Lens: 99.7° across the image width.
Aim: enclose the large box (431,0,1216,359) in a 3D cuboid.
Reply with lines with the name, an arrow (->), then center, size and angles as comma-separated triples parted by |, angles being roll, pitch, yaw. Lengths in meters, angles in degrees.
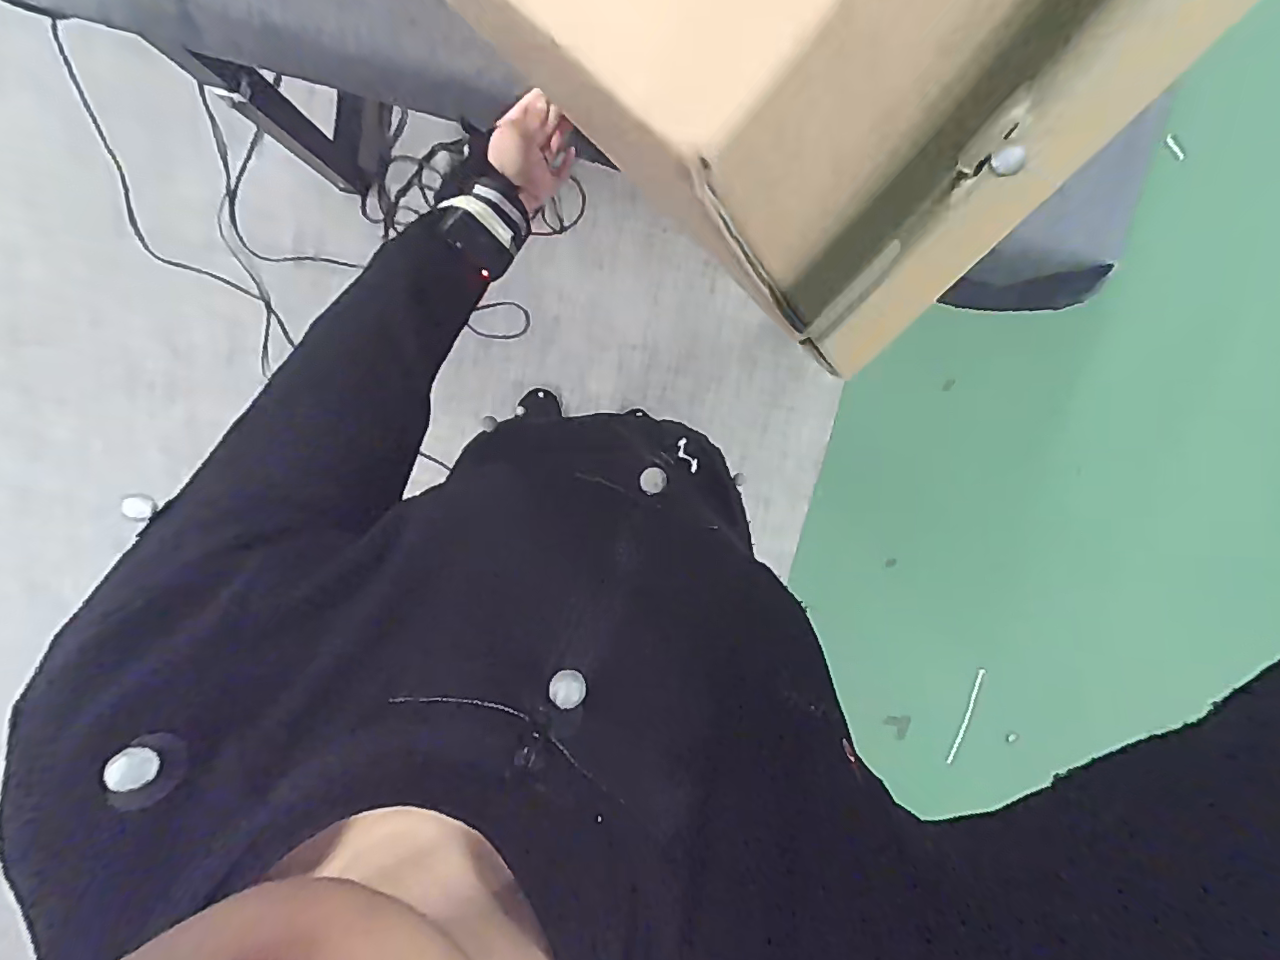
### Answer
large box -> 0.061, -0.321, 0.273 | 0.320, 0.320, 0.408 | -47, 72, 19
